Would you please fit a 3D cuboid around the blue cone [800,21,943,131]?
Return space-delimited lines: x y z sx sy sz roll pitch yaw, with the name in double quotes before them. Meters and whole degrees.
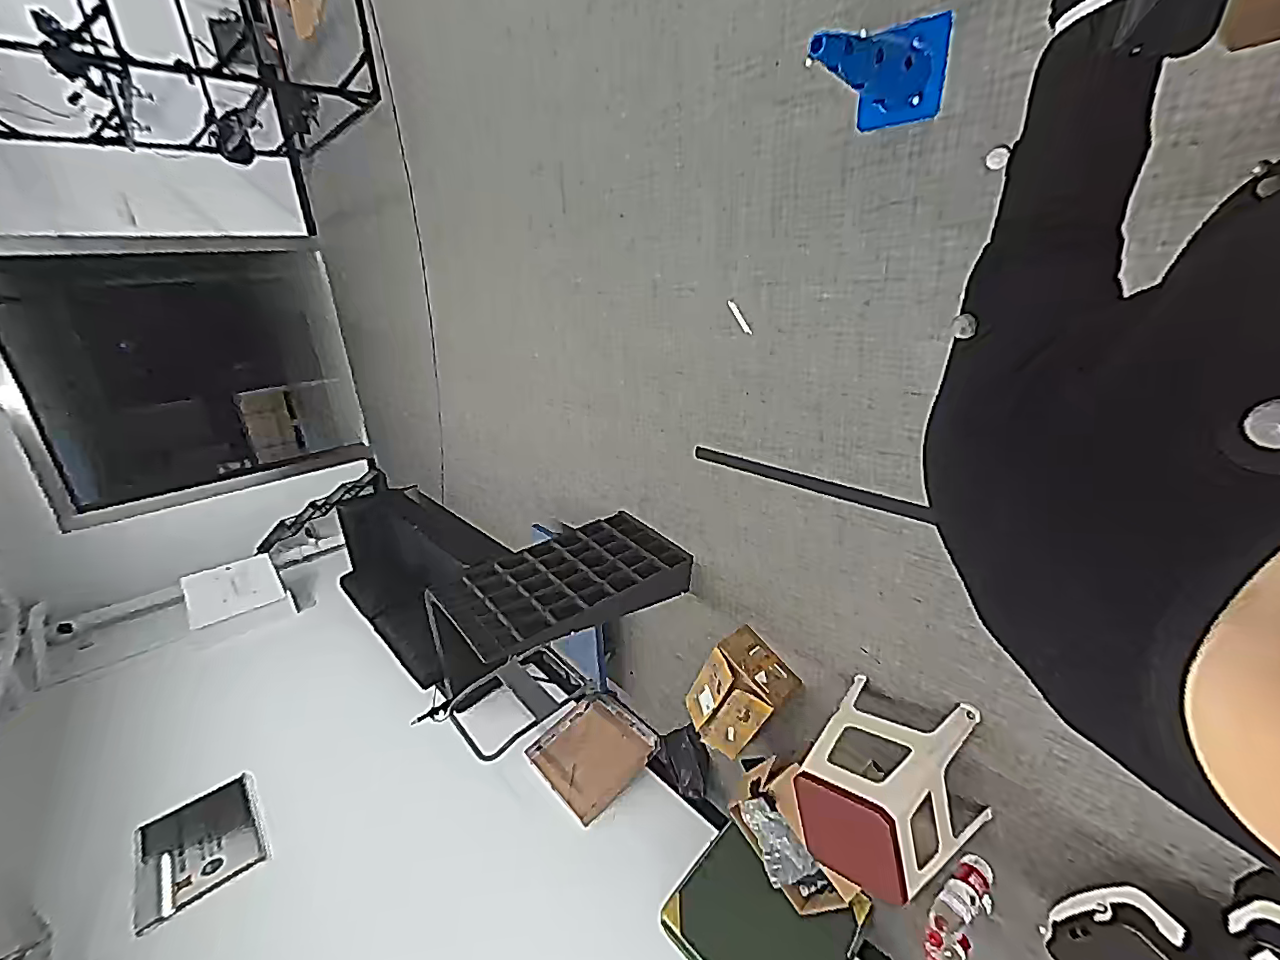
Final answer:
"blue cone" 0.483 -0.905 1.181 0.192 0.380 0.193 25 124 45

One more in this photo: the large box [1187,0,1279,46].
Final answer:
"large box" 0.557 -0.479 0.243 0.408 0.320 0.320 15 121 47
